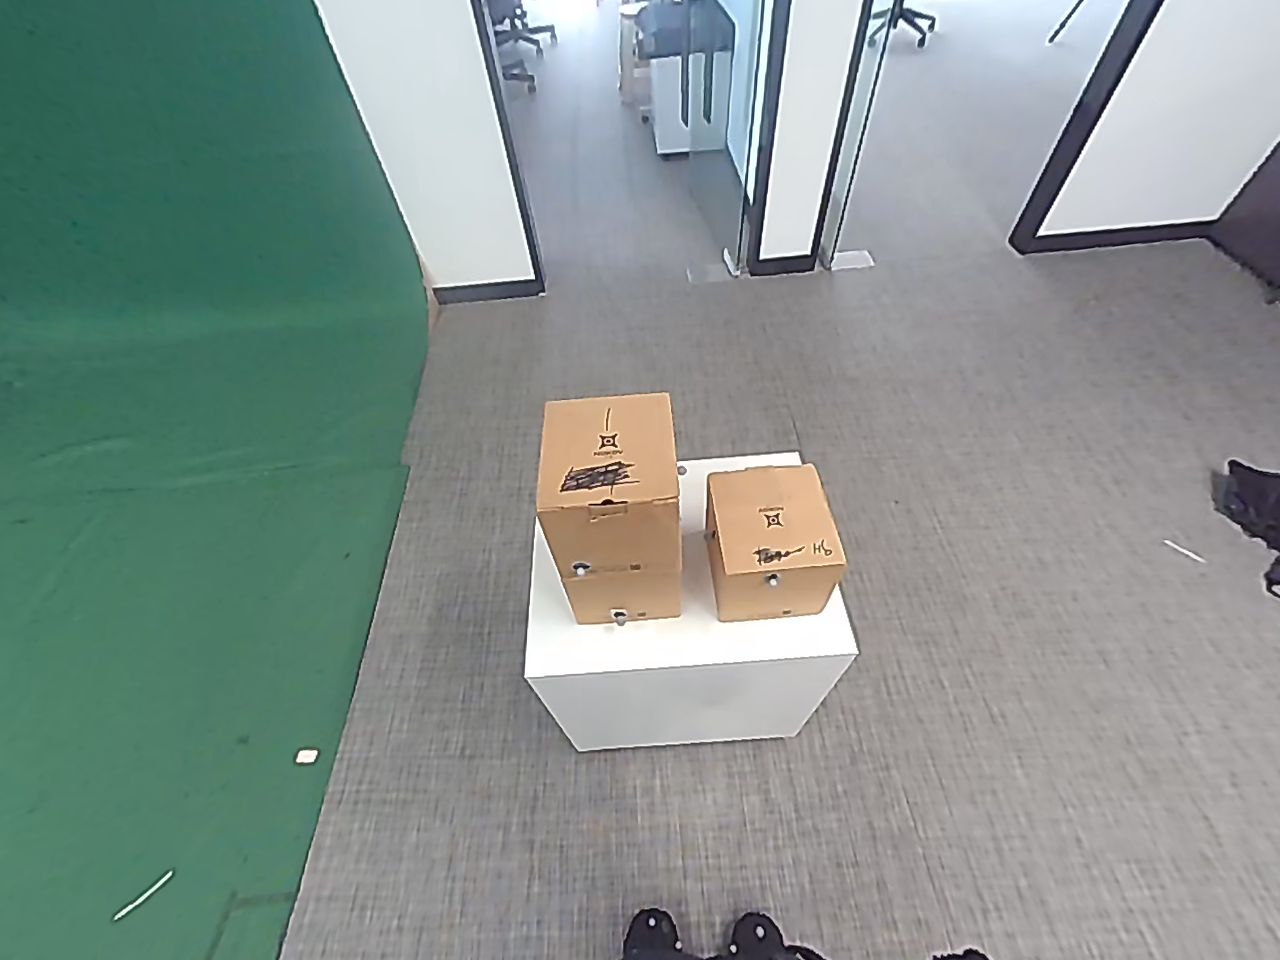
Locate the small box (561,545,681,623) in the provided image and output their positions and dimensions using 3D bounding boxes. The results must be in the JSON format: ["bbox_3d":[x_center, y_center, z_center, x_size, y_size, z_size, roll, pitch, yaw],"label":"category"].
[{"bbox_3d":[-0.028,0.103,0.846,0.168,0.176,0.179,-7,53,0],"label":"small box"}]

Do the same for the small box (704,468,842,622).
[{"bbox_3d":[0.193,0.103,0.846,0.168,0.176,0.179,-5,51,1],"label":"small box"}]

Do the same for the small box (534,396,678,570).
[{"bbox_3d":[-0.036,0.012,0.729,0.168,0.176,0.179,-4,51,2],"label":"small box"}]
